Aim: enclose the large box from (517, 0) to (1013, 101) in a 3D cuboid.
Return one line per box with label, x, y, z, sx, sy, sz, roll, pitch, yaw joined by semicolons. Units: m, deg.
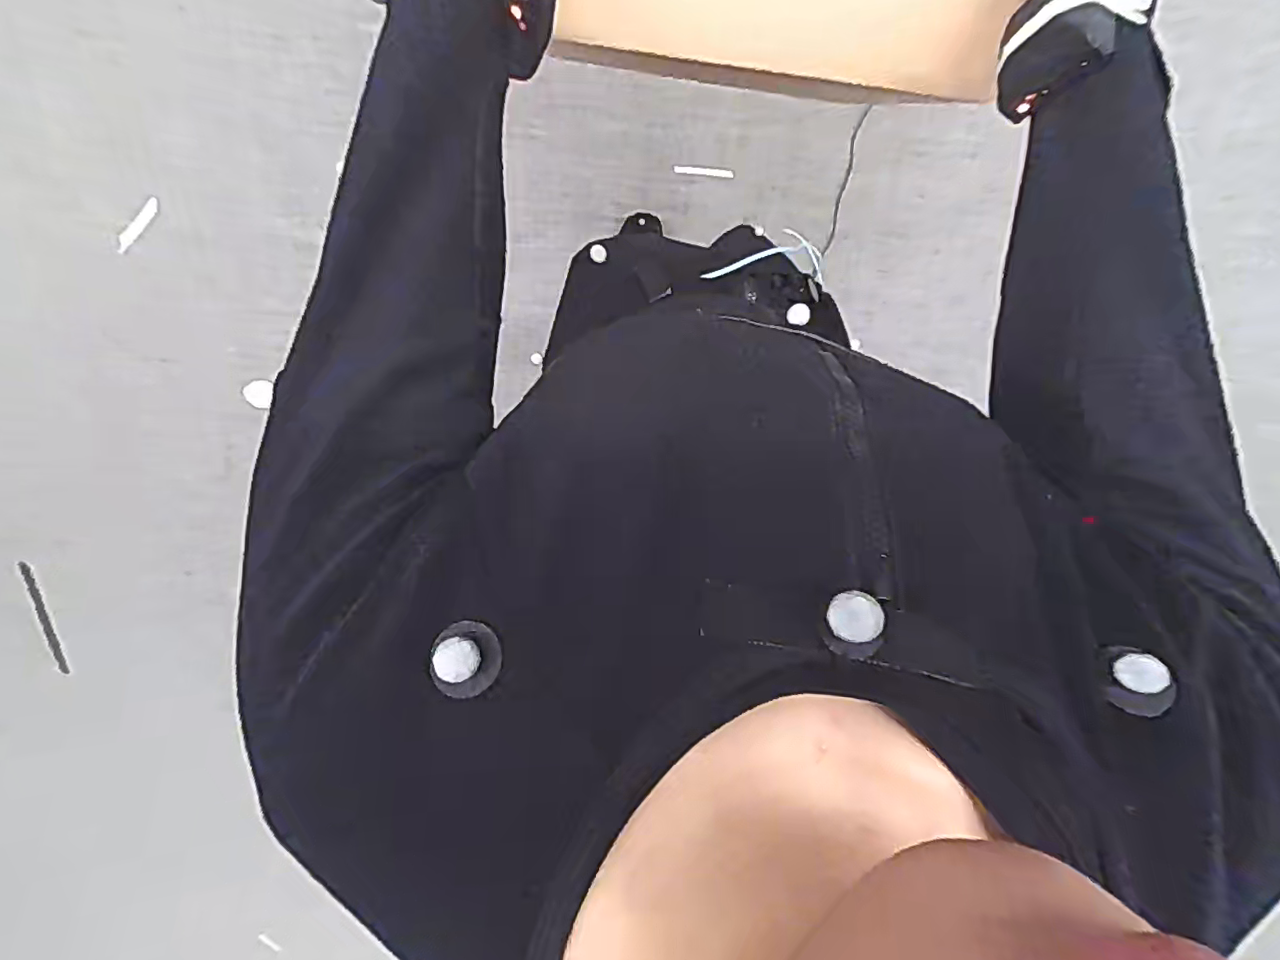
large box;0.106;-0.554;0.488;0.408;0.320;0.320;4;125;-5
